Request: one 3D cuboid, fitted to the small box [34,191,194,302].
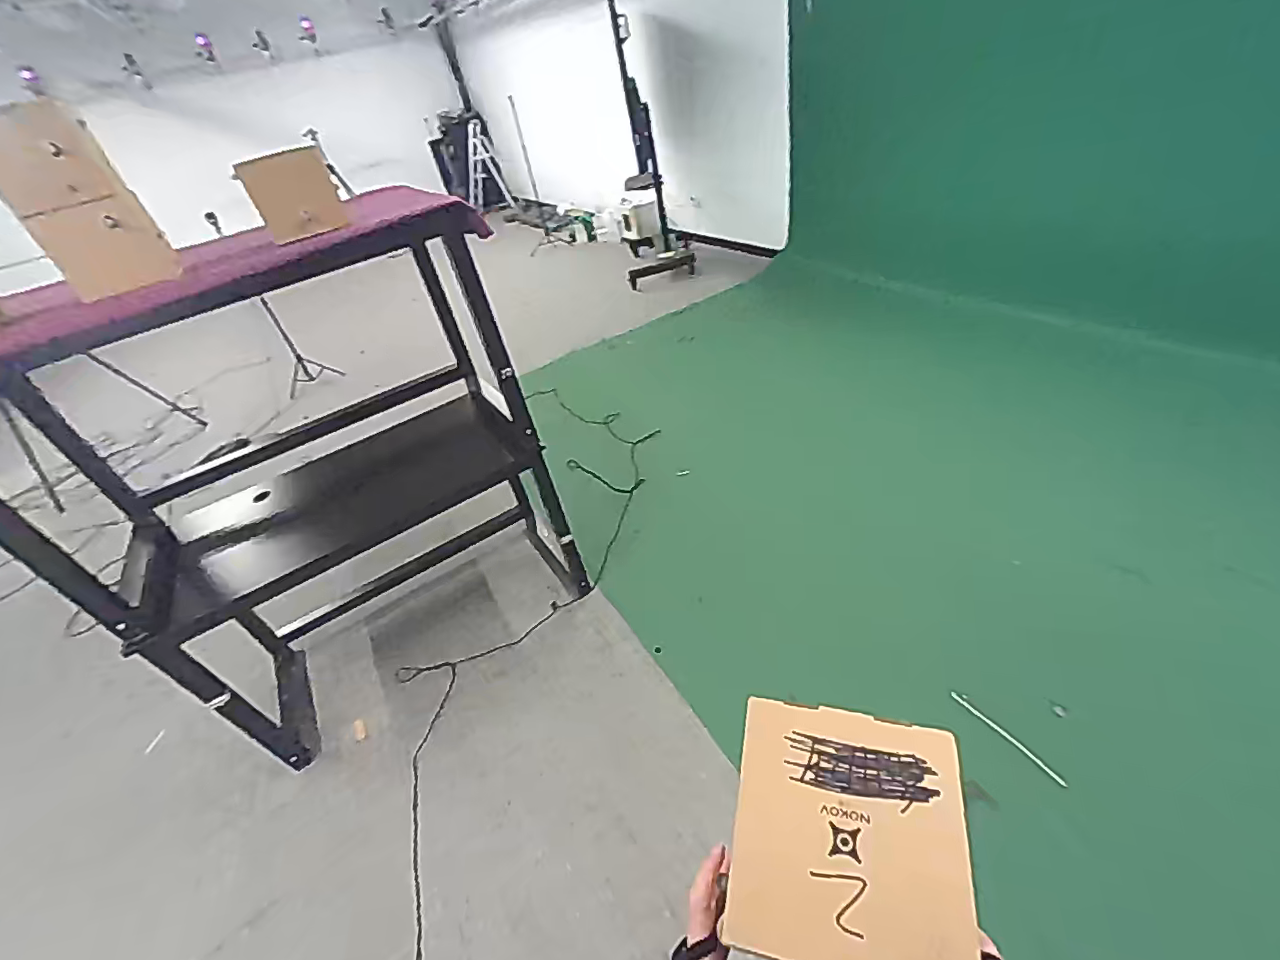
[{"bbox_3d":[-1.112,-0.504,1.166,0.179,0.176,0.168,-28,39,-19],"label":"small box"}]

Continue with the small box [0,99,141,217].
[{"bbox_3d":[-1.147,-0.634,1.073,0.168,0.176,0.179,-28,39,-20],"label":"small box"}]

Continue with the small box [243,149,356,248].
[{"bbox_3d":[-0.801,-0.671,1.285,0.179,0.176,0.168,-28,38,-19],"label":"small box"}]

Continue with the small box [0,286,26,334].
[{"bbox_3d":[-1.380,-0.349,1.047,0.179,0.176,0.168,-30,41,-22],"label":"small box"}]
